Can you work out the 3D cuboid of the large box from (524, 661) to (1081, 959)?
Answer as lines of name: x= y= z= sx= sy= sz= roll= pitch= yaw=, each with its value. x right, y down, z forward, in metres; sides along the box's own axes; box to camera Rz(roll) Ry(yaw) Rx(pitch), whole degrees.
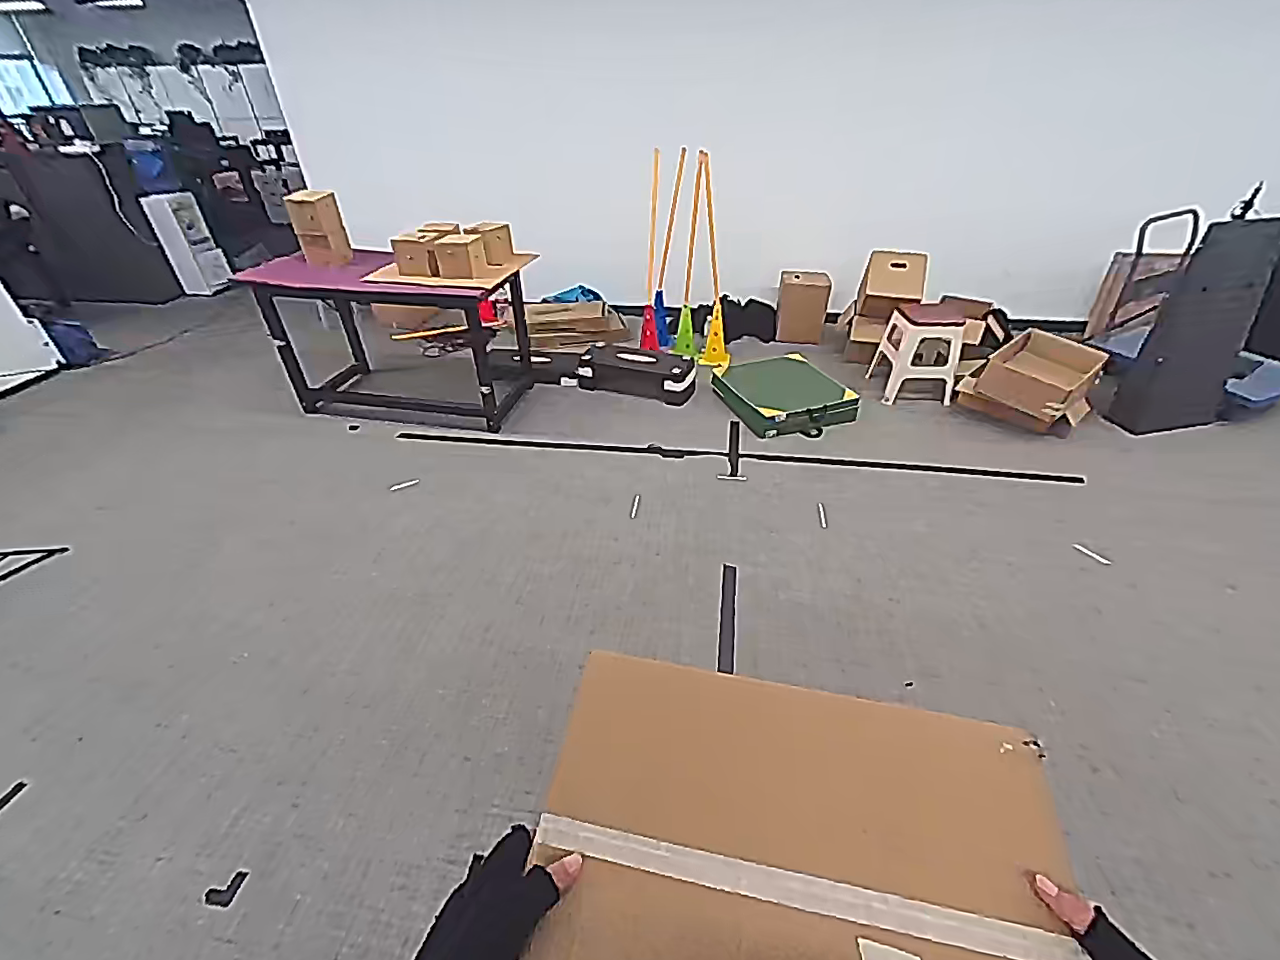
large box: x=0.128 y=0.417 z=0.531 sx=0.408 sy=0.320 sz=0.320 roll=7 pitch=49 yaw=10
